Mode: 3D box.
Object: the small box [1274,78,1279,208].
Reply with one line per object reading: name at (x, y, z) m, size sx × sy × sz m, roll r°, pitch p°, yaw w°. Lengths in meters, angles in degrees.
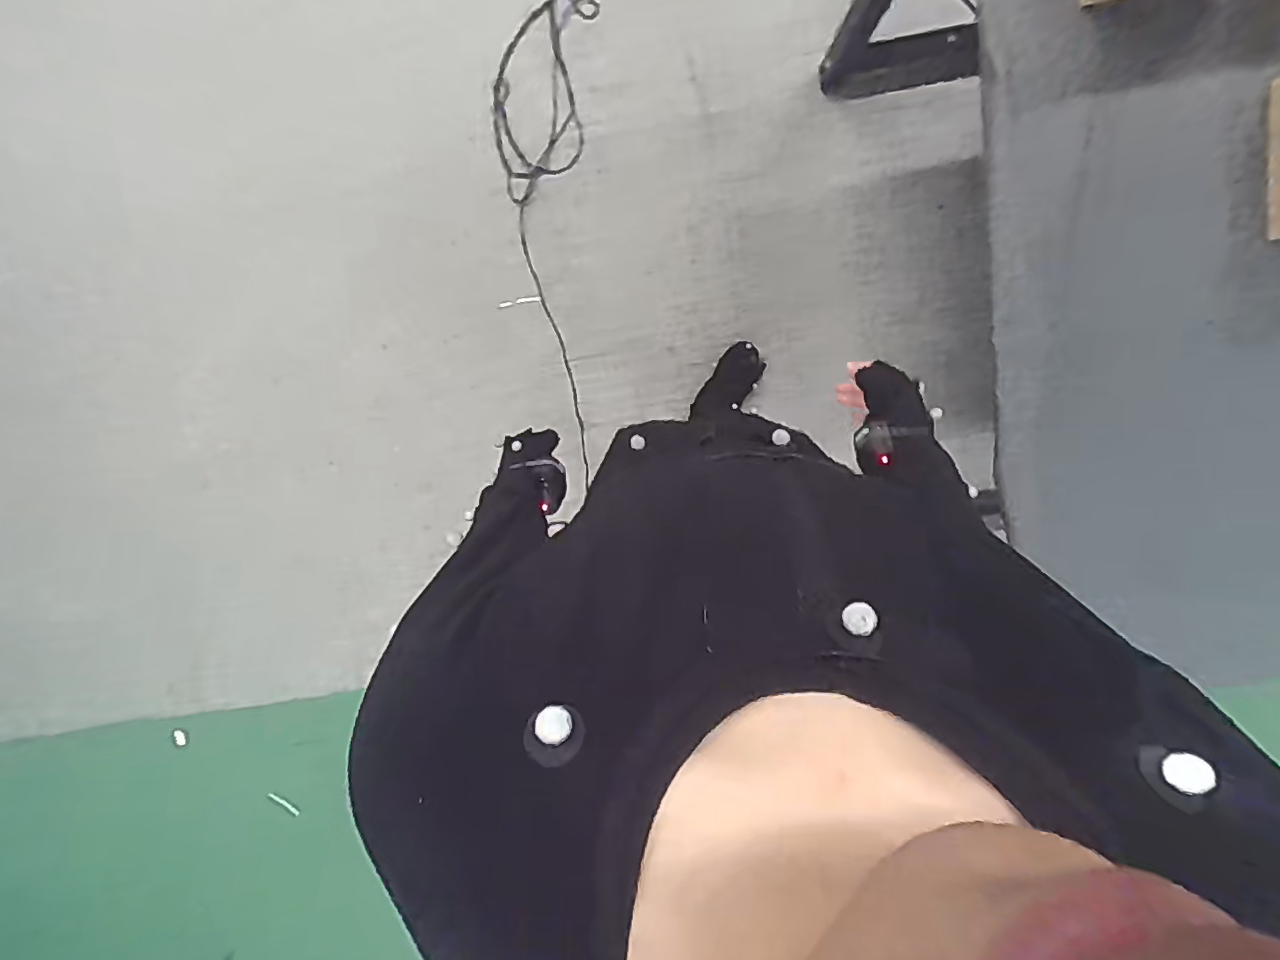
small box at (0.805, -0.376, 0.537) m, size 0.168 × 0.176 × 0.179 m, roll -10°, pitch 100°, yaw 4°
